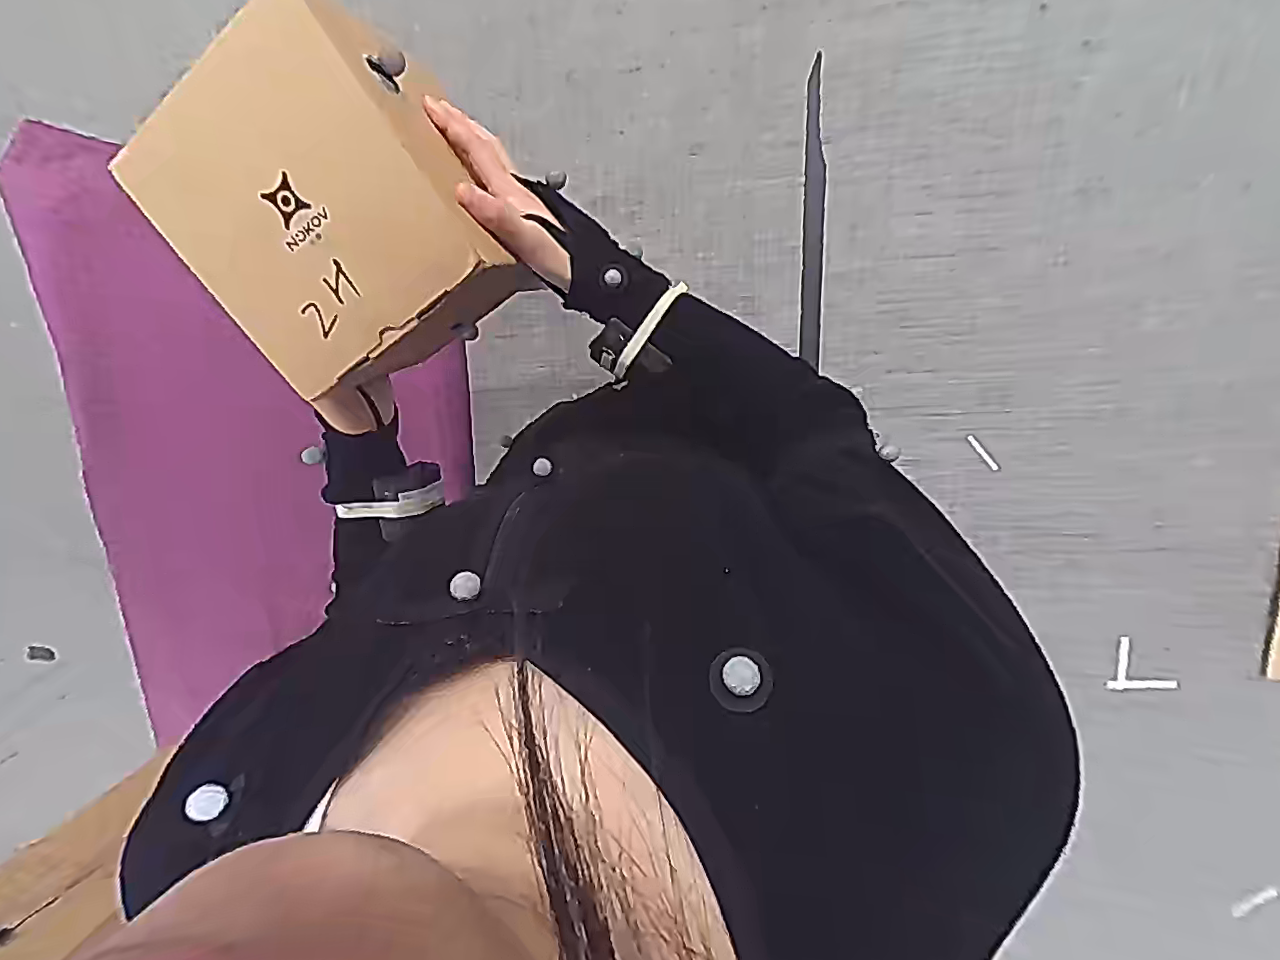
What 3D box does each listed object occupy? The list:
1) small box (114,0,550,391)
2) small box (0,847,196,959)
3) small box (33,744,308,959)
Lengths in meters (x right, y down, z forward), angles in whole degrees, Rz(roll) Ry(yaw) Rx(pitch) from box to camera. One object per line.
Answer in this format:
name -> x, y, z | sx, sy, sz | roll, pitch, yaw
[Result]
small box -> -0.193, -0.194, 0.395 | 0.168, 0.176, 0.179 | -29, 106, 17
small box -> -0.568, 0.478, 0.499 | 0.179, 0.176, 0.168 | 0, 102, 6
small box -> -0.552, 0.448, 0.660 | 0.179, 0.176, 0.168 | -1, 102, 7
